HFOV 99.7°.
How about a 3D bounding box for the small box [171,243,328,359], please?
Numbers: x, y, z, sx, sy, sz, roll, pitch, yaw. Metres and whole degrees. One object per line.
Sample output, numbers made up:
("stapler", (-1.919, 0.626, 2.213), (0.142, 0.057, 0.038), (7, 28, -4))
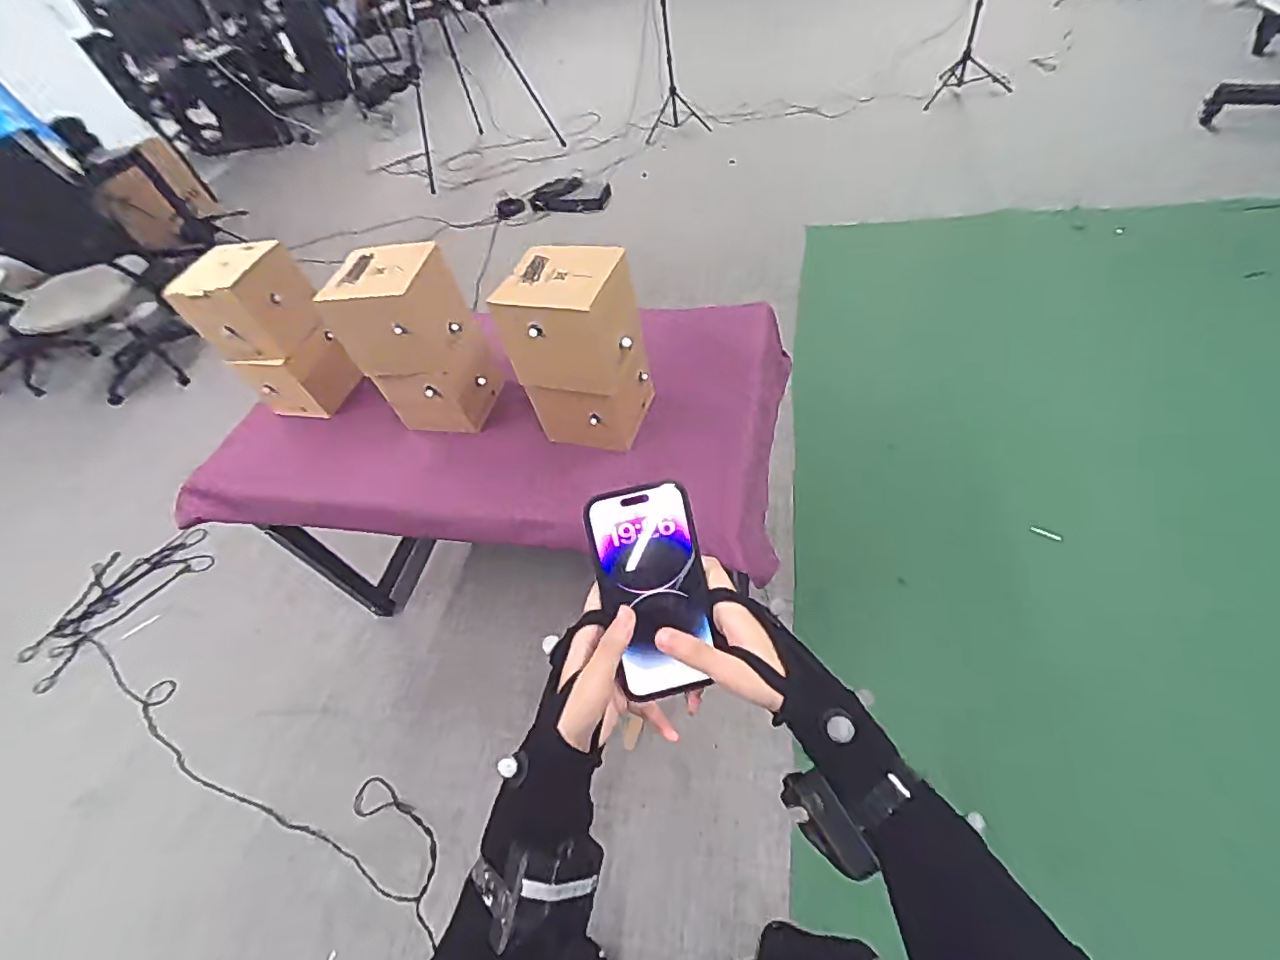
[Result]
("small box", (-0.805, -0.370, 1.139), (0.168, 0.176, 0.179), (2, 53, 13))

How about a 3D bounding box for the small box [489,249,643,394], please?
("small box", (-0.111, -0.262, 0.898), (0.179, 0.176, 0.168), (10, 55, 19))

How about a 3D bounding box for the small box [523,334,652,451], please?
("small box", (-0.088, -0.174, 1.035), (0.179, 0.176, 0.168), (10, 55, 20))

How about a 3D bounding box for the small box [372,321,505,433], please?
("small box", (-0.410, -0.214, 1.138), (0.179, 0.176, 0.168), (5, 53, 16))

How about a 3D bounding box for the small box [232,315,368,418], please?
("small box", (-0.778, -0.262, 1.261), (0.168, 0.176, 0.179), (5, 53, 17))
